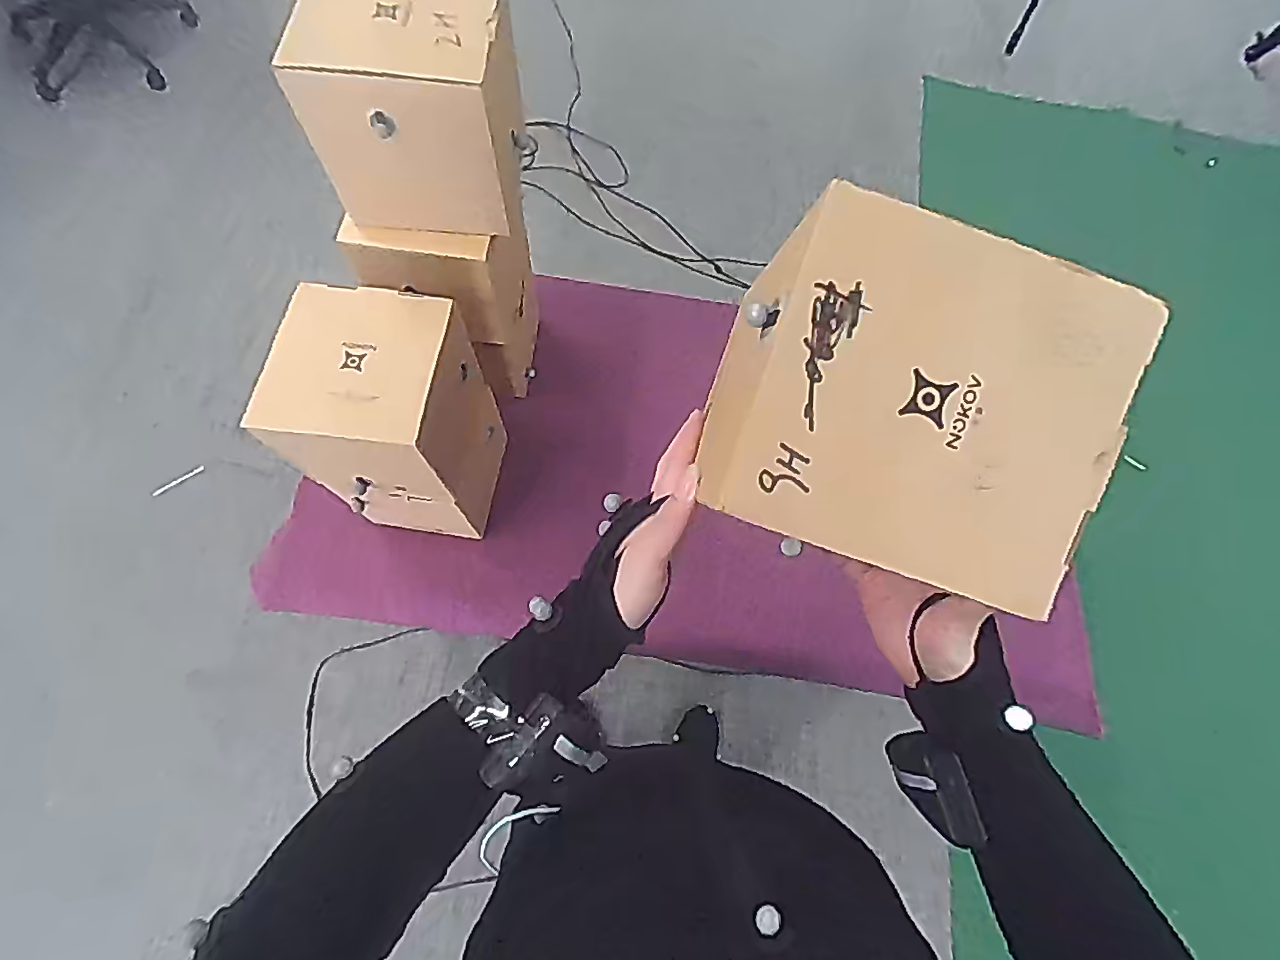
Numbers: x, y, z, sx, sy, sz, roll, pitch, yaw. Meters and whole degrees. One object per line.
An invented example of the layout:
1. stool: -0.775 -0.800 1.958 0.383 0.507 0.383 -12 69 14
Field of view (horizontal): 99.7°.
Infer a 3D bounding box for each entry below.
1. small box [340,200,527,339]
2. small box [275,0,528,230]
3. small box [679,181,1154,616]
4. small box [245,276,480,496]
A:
1. small box: -0.247 -0.306 0.699 0.168 0.176 0.179 6 69 -2
2. small box: -0.220 -0.385 0.555 0.179 0.176 0.168 4 69 -4
3. small box: 0.139 -0.040 0.340 0.179 0.176 0.168 20 91 -4
4. small box: -0.291 -0.098 0.617 0.168 0.176 0.179 7 69 -2
